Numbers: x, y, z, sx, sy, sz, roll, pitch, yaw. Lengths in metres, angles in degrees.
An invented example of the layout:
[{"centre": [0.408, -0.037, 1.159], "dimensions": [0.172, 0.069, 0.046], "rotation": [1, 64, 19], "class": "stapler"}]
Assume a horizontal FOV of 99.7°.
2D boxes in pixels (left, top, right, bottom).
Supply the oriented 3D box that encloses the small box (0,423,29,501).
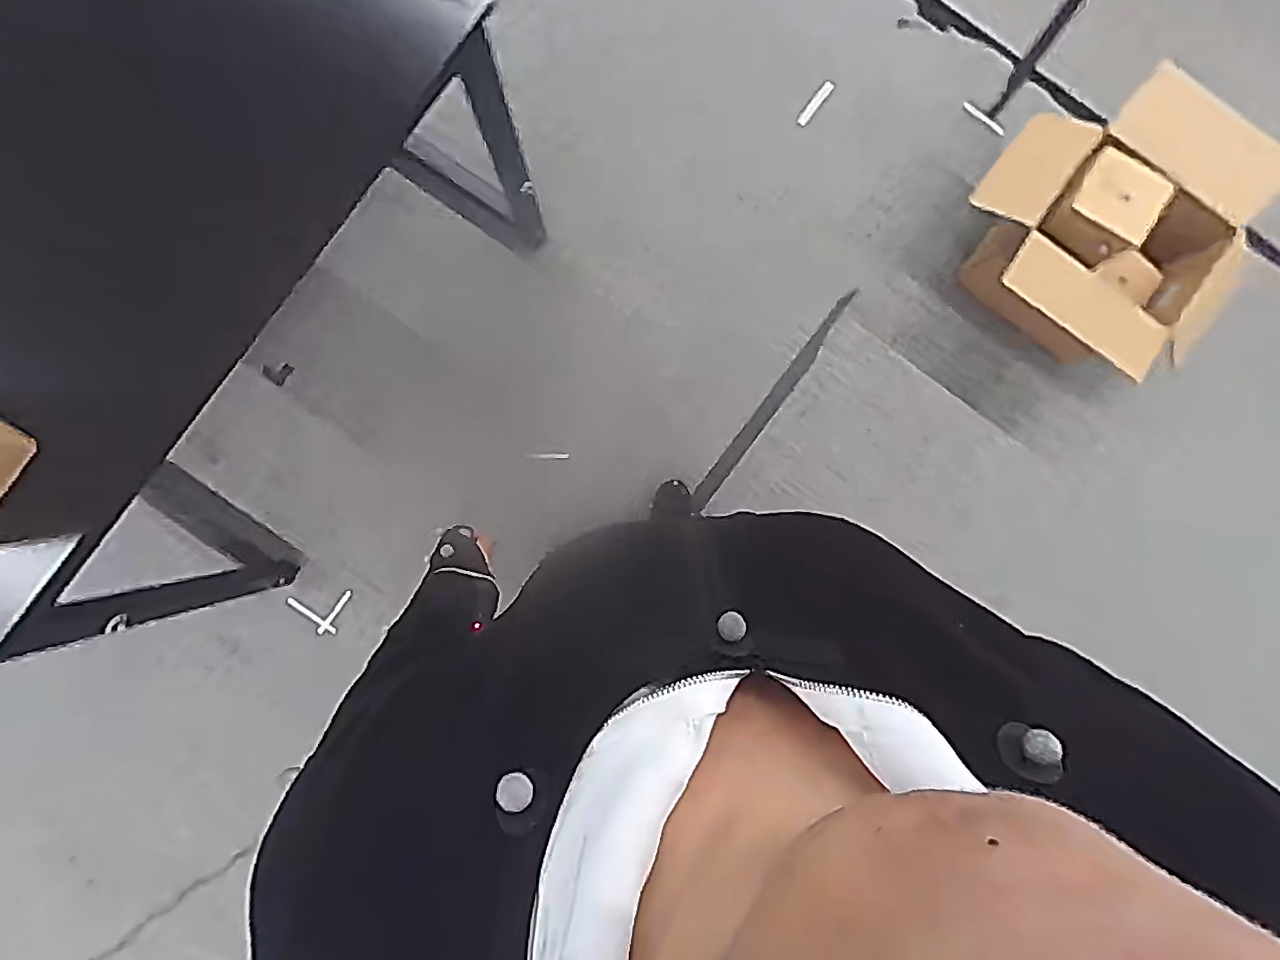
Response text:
[{"centre": [-0.934, -0.016, 0.657], "dimensions": [0.168, 0.176, 0.179], "rotation": [33, 88, -1], "class": "small box"}]
